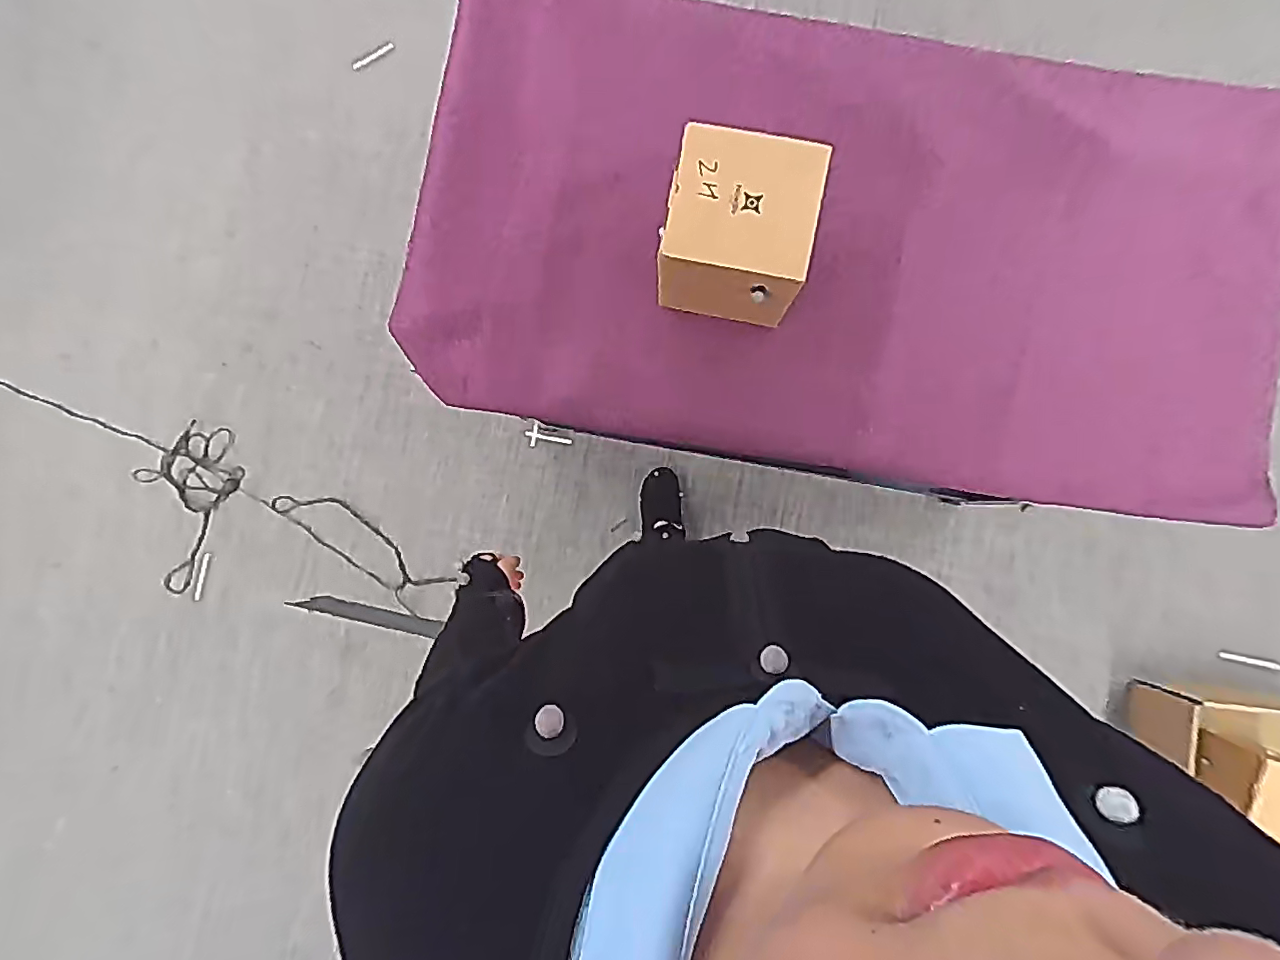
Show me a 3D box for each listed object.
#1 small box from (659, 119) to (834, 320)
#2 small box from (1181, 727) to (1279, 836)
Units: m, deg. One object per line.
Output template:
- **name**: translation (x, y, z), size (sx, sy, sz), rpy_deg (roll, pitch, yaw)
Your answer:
- **small box**: translation (0.127, -0.323, 0.706), size (0.179, 0.176, 0.168), rpy_deg (12, 88, 4)
- **small box**: translation (1.461, 0.715, 1.277), size (0.179, 0.176, 0.168), rpy_deg (17, 90, 3)
